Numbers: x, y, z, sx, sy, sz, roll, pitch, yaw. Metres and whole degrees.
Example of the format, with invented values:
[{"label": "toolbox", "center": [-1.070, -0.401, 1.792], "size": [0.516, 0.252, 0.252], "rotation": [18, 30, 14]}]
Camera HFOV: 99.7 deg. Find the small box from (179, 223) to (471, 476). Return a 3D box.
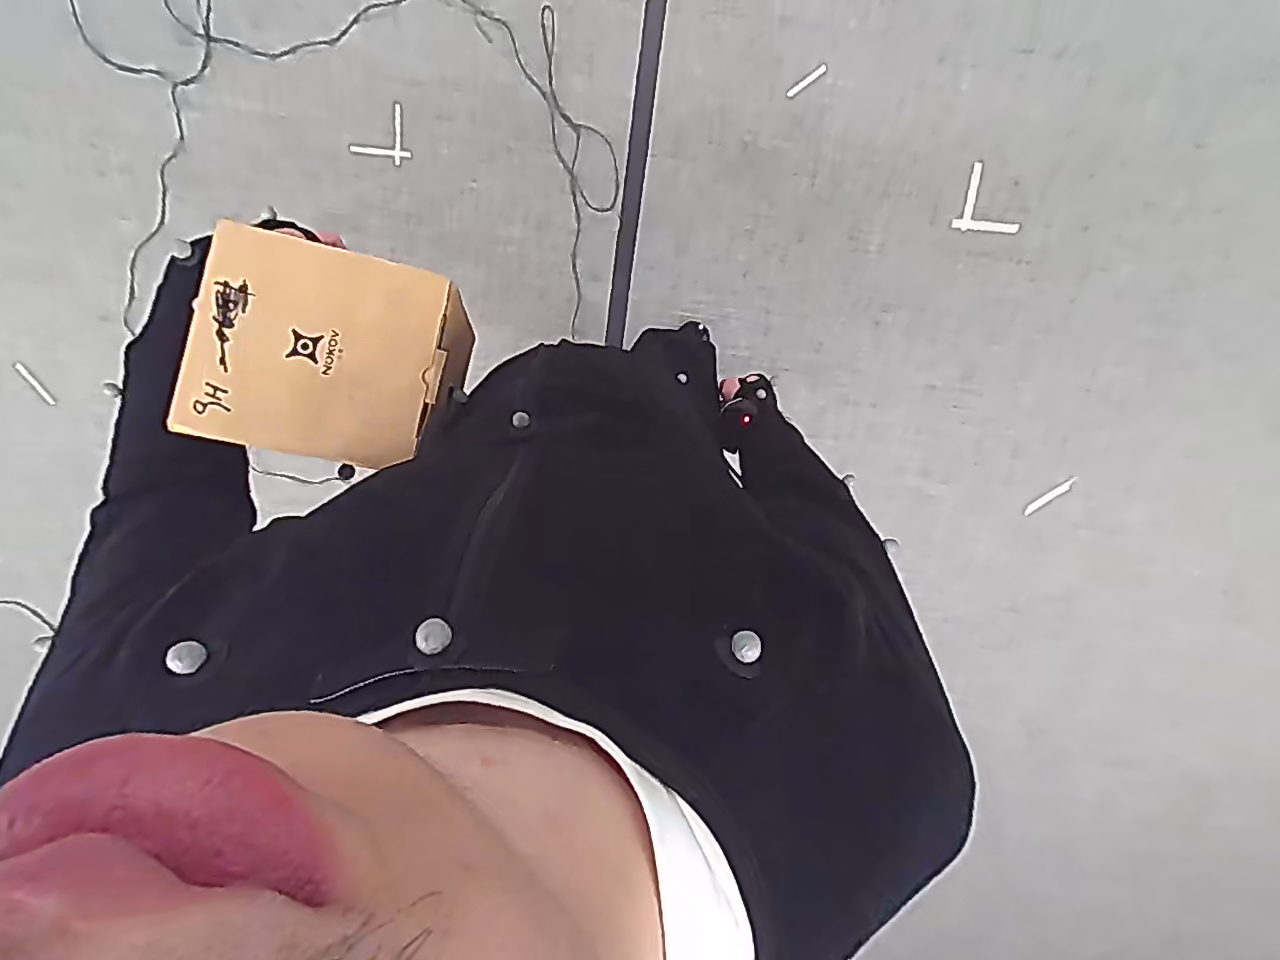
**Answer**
[{"label": "small box", "center": [-0.264, -0.101, 0.504], "size": [0.179, 0.176, 0.168], "rotation": [12, 87, -12]}]
